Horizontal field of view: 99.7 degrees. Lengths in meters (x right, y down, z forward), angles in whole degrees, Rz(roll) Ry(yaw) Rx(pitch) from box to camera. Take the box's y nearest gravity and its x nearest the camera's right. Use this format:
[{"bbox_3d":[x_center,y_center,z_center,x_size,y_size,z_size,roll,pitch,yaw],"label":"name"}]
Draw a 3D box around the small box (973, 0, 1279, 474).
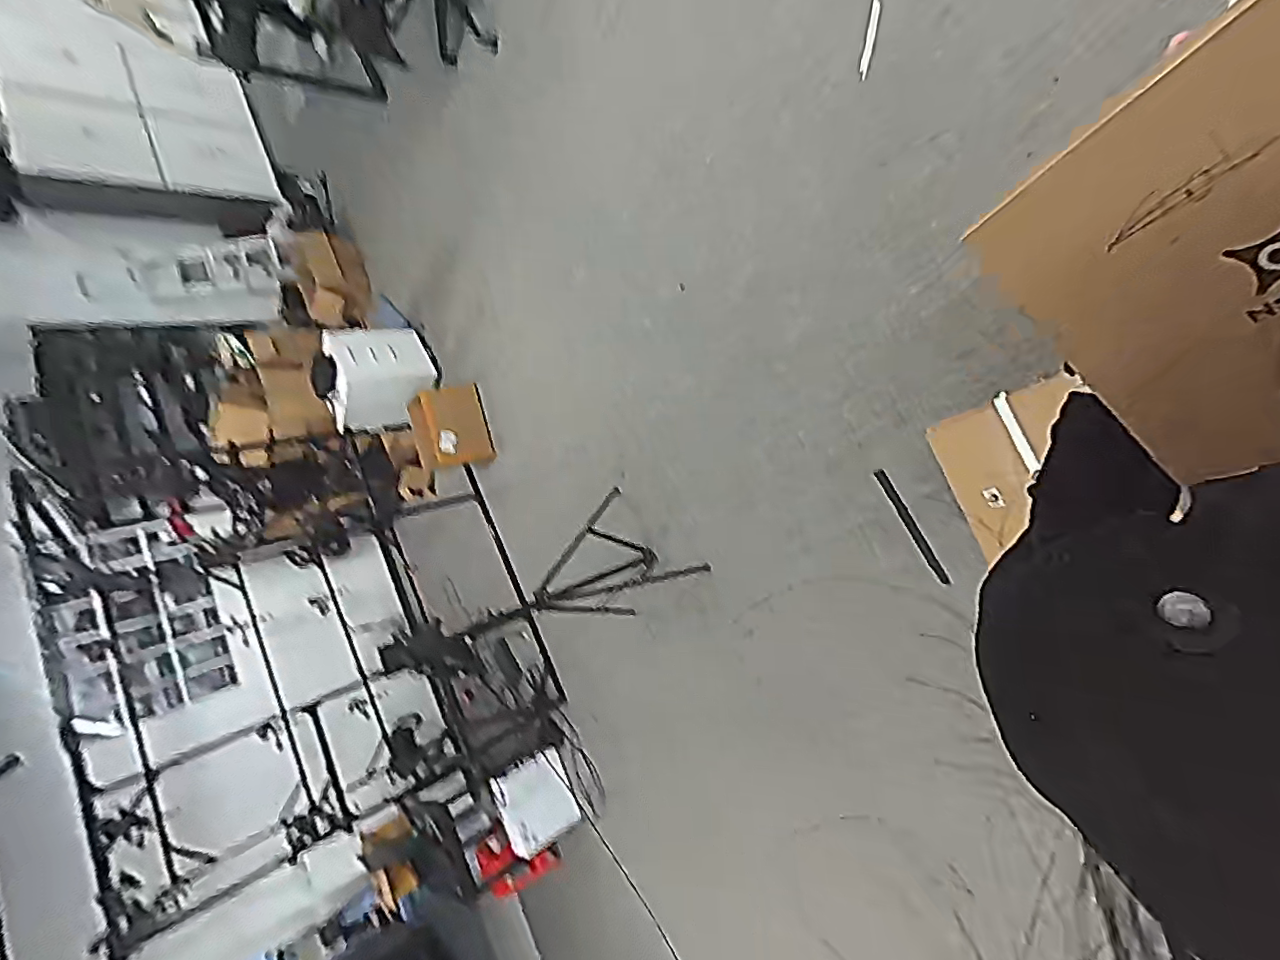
[{"bbox_3d":[0.306,-0.136,0.234,0.179,0.176,0.168,49,157,2],"label":"small box"}]
